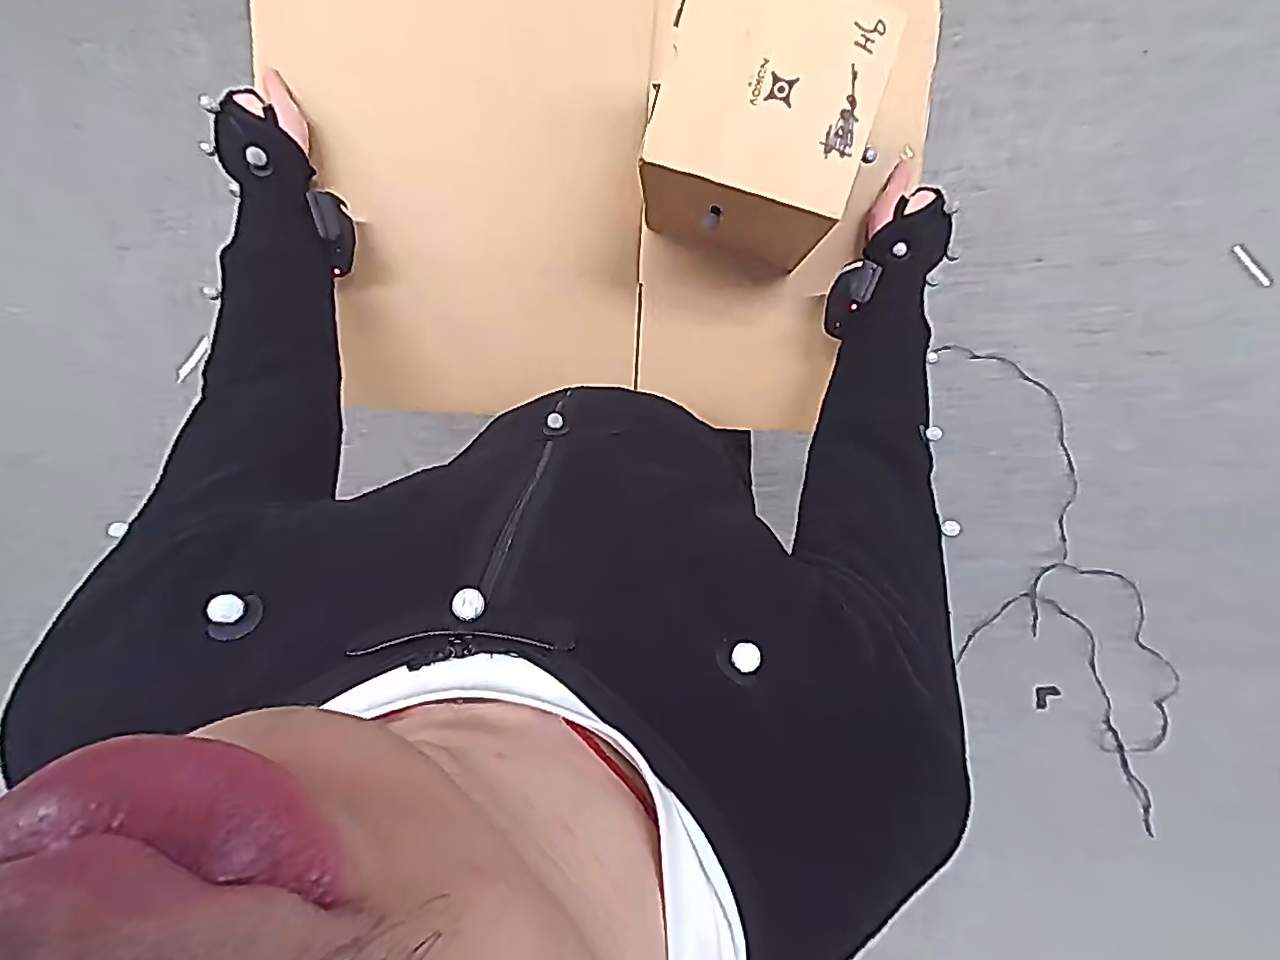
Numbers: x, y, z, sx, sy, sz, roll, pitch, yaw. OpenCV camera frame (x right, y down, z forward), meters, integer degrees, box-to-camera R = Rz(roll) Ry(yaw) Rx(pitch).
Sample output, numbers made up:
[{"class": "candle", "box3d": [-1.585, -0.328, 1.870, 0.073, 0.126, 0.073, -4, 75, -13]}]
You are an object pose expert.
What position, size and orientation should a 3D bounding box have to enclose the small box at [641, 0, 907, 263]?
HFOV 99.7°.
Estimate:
[{"class": "small box", "box3d": [0.111, -0.329, 0.518, 0.179, 0.176, 0.168, 18, 97, 1]}]
